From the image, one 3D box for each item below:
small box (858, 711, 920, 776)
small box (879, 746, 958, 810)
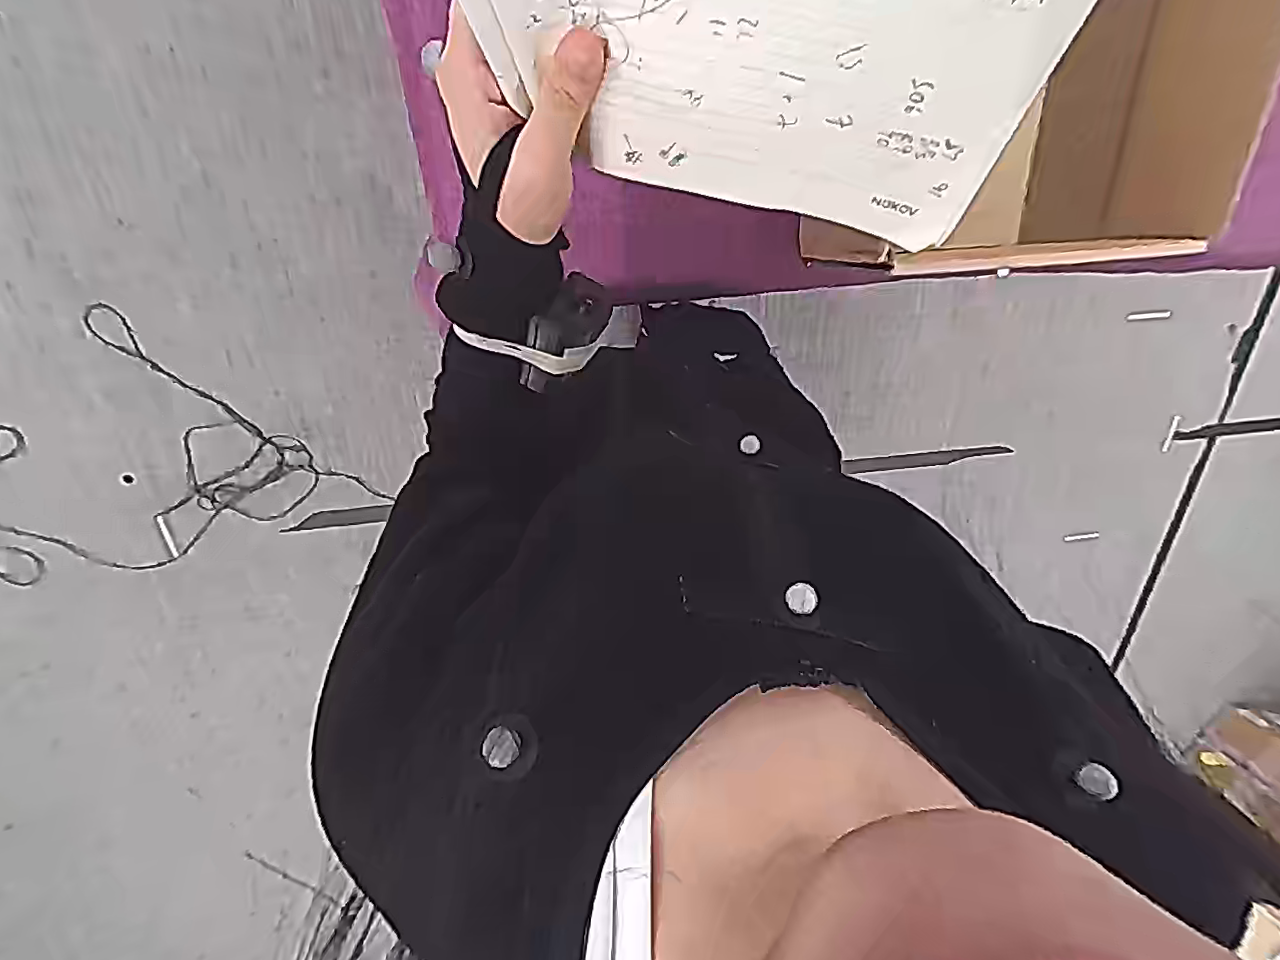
[{"bbox_3d":[1.010,1.077,2.178,0.179,0.176,0.168,-39,116,10],"label":"small box"},{"bbox_3d":[1.041,1.143,2.033,0.179,0.176,0.168,-38,116,9],"label":"small box"}]
